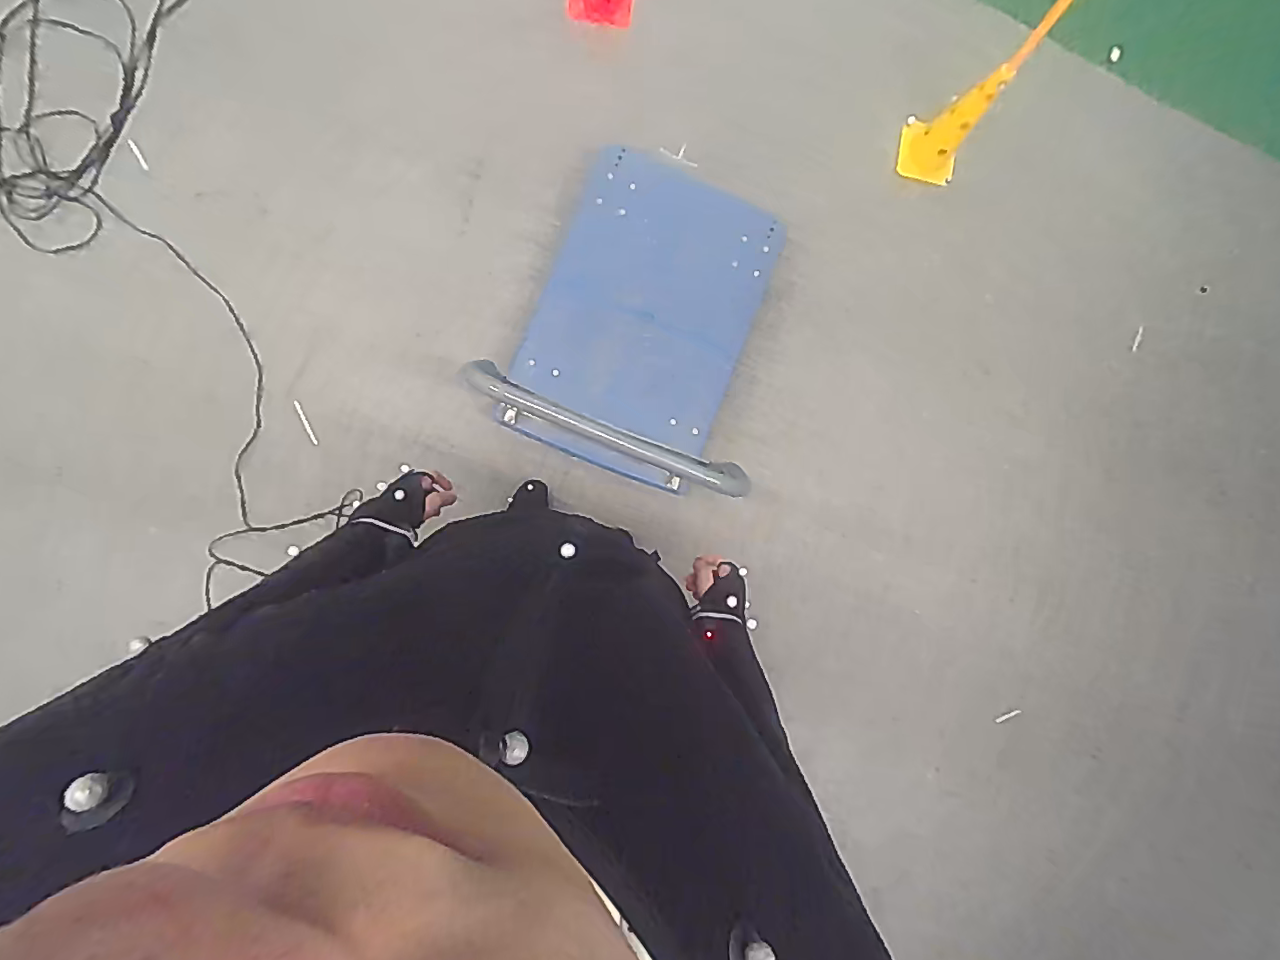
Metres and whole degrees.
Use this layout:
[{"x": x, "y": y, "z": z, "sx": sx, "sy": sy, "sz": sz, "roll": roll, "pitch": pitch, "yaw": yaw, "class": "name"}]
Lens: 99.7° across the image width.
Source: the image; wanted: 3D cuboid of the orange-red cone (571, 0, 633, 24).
[{"x": -0.093, "y": -1.555, "z": 1.536, "sx": 0.199, "sy": 0.360, "sz": 0.198, "roll": 7, "pitch": 86, "yaw": -6, "class": "orange-red cone"}]
